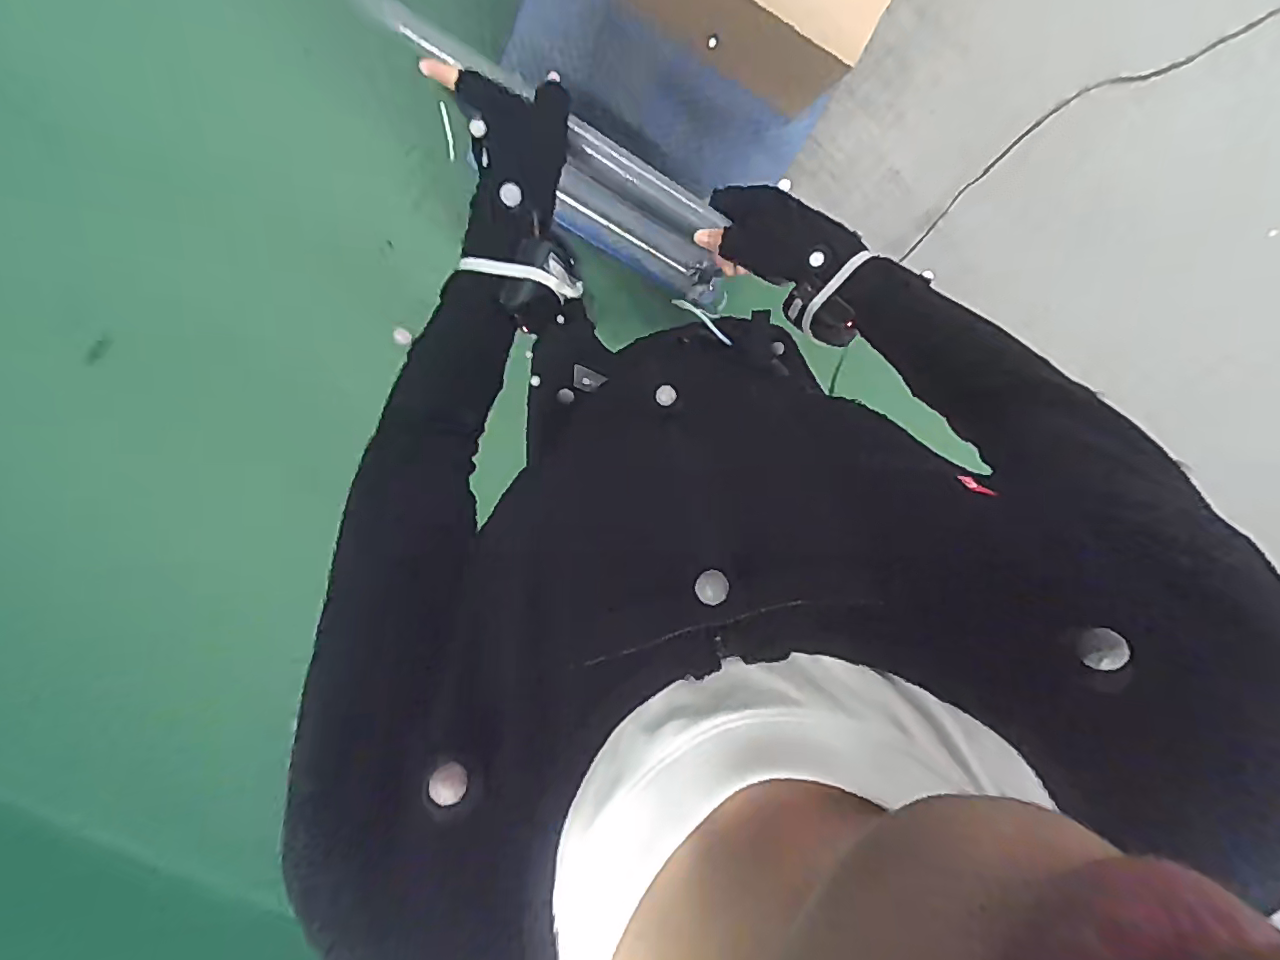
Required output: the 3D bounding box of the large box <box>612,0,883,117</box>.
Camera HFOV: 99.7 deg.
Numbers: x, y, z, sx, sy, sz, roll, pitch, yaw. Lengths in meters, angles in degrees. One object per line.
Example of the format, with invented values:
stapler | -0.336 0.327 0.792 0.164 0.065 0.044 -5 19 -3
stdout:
large box | 0.190 -0.852 0.832 0.408 0.320 0.320 26 108 -10
